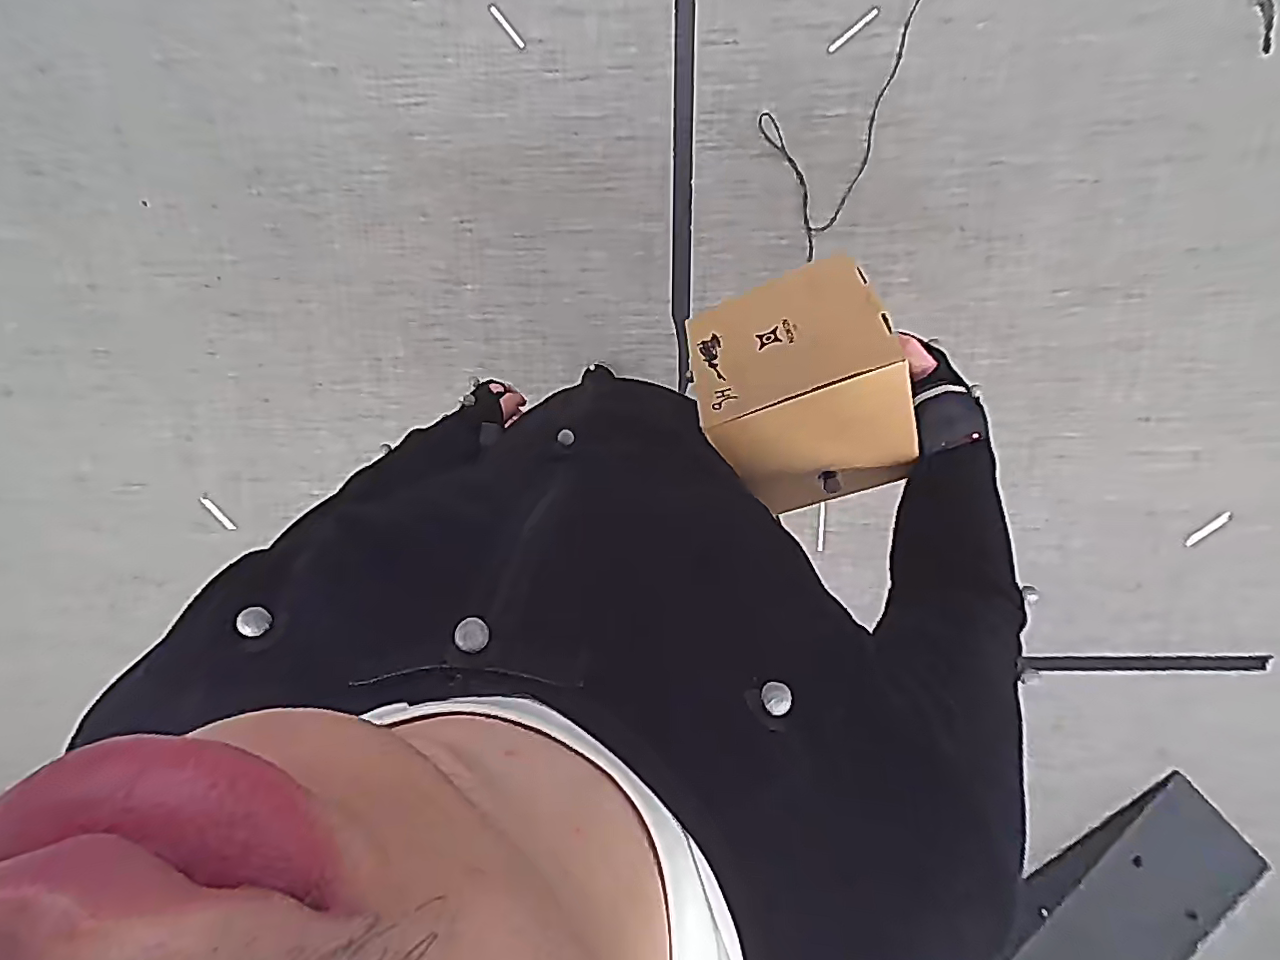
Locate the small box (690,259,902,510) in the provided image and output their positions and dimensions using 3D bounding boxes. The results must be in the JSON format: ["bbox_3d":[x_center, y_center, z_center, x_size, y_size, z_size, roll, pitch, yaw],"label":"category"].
[{"bbox_3d":[0.168,-0.092,0.579,0.179,0.168,0.176,-18,138,19],"label":"small box"}]
